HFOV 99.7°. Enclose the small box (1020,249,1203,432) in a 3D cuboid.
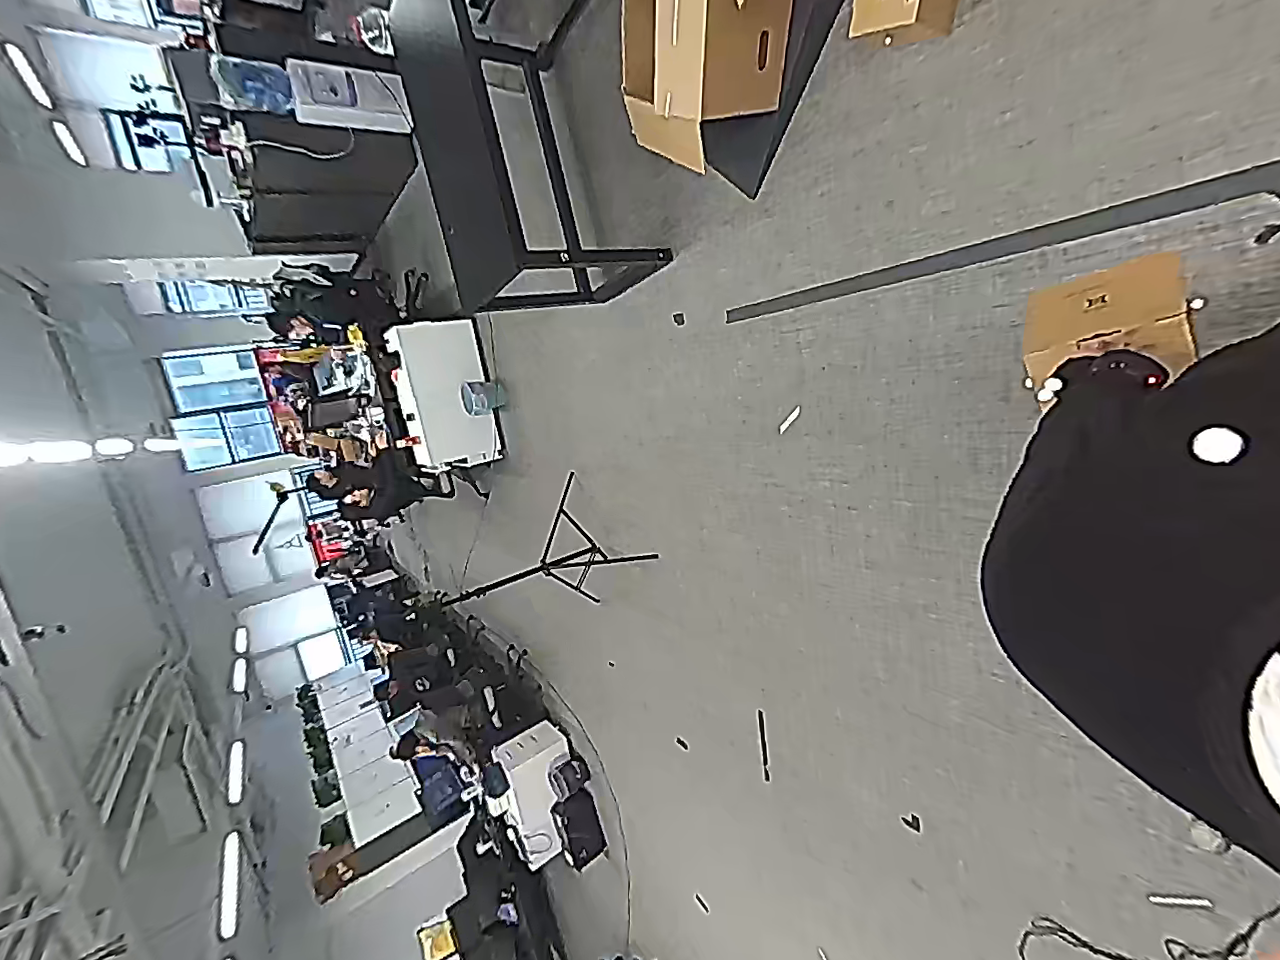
[{"bbox_3d":[0.670,-0.185,0.772,0.168,0.179,0.176,-10,126,47],"label":"small box"}]
